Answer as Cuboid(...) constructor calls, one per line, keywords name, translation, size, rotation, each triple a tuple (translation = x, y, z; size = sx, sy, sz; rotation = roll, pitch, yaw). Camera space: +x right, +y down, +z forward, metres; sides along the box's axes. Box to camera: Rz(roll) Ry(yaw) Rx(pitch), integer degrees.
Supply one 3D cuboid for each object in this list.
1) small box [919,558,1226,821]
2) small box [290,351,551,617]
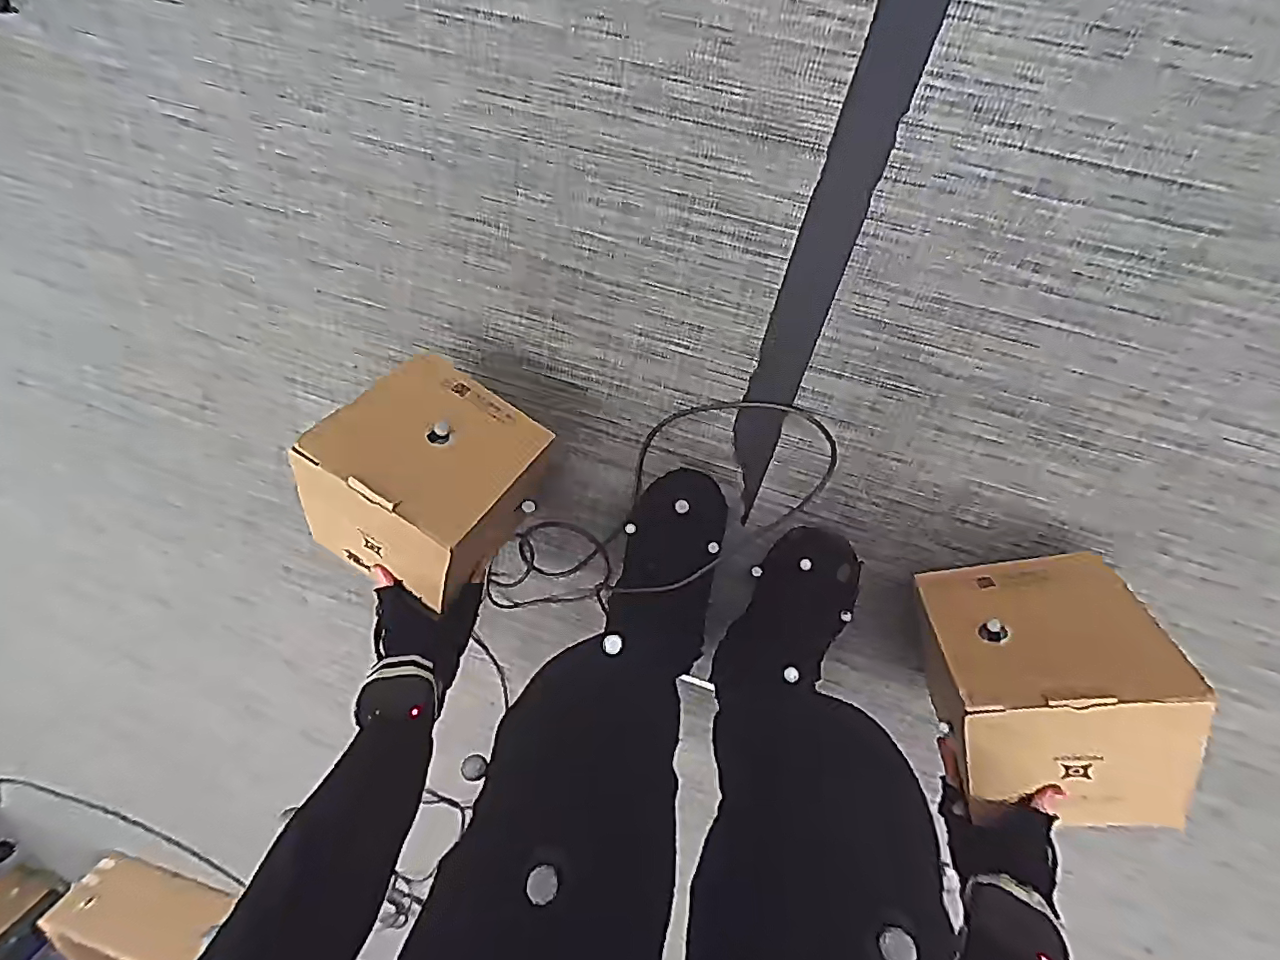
Cuboid(name="small box", translation=(0.377, 0.189, 0.510), size=(0.168, 0.176, 0.179), rotation=(-12, 120, 18))
Cuboid(name="small box", translation=(-0.212, 0.002, 0.554), size=(0.168, 0.176, 0.179), rotation=(34, 140, 1))
